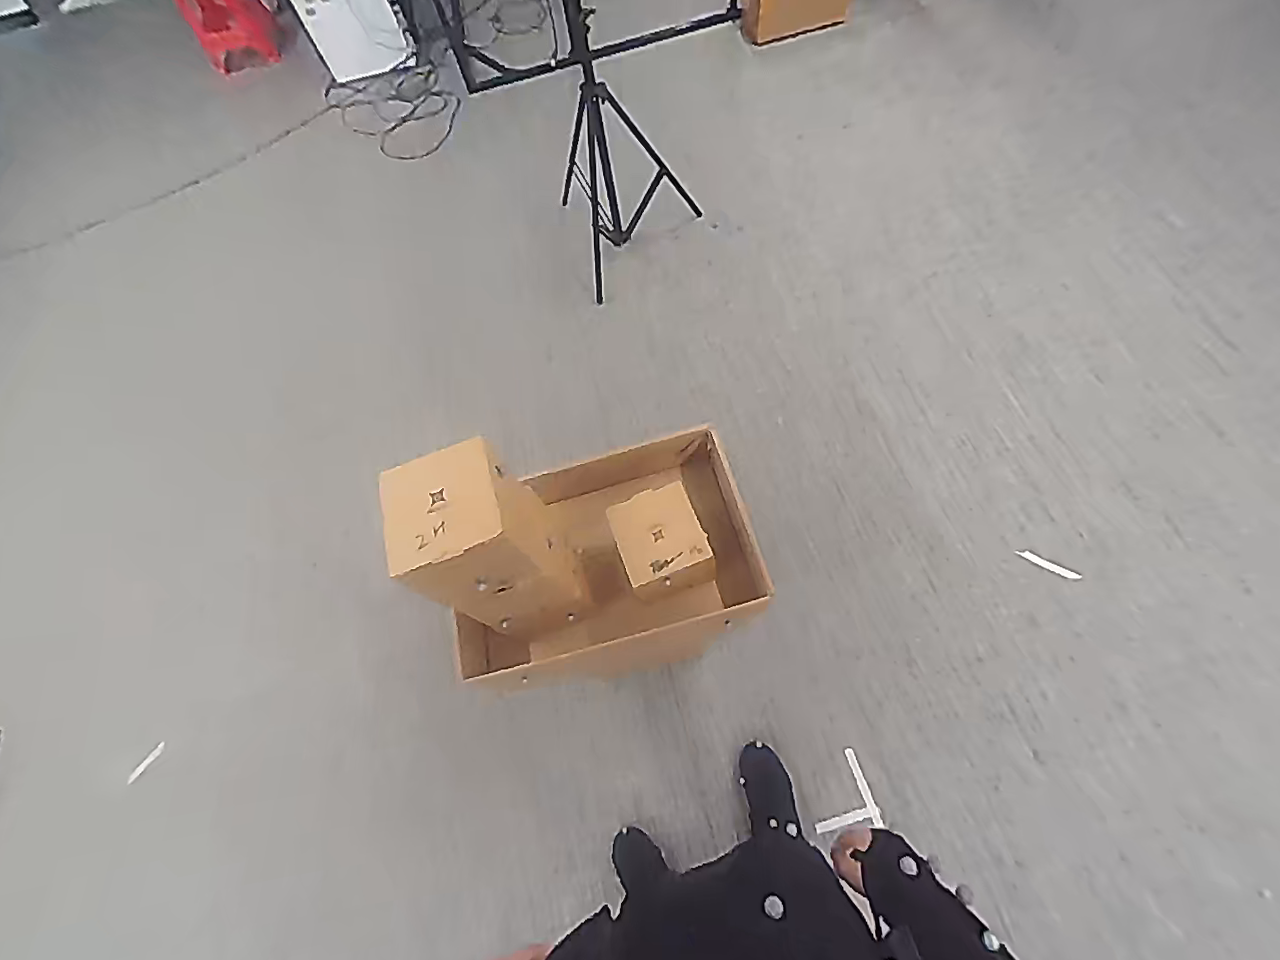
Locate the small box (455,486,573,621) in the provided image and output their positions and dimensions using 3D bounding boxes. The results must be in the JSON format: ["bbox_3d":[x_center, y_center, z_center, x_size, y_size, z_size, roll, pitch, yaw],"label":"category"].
[{"bbox_3d":[-0.231,0.142,0.974,0.168,0.176,0.179,-19,62,0],"label":"small box"}]

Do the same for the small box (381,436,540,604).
[{"bbox_3d":[-0.270,0.068,0.831,0.168,0.176,0.179,-21,62,-1],"label":"small box"}]
